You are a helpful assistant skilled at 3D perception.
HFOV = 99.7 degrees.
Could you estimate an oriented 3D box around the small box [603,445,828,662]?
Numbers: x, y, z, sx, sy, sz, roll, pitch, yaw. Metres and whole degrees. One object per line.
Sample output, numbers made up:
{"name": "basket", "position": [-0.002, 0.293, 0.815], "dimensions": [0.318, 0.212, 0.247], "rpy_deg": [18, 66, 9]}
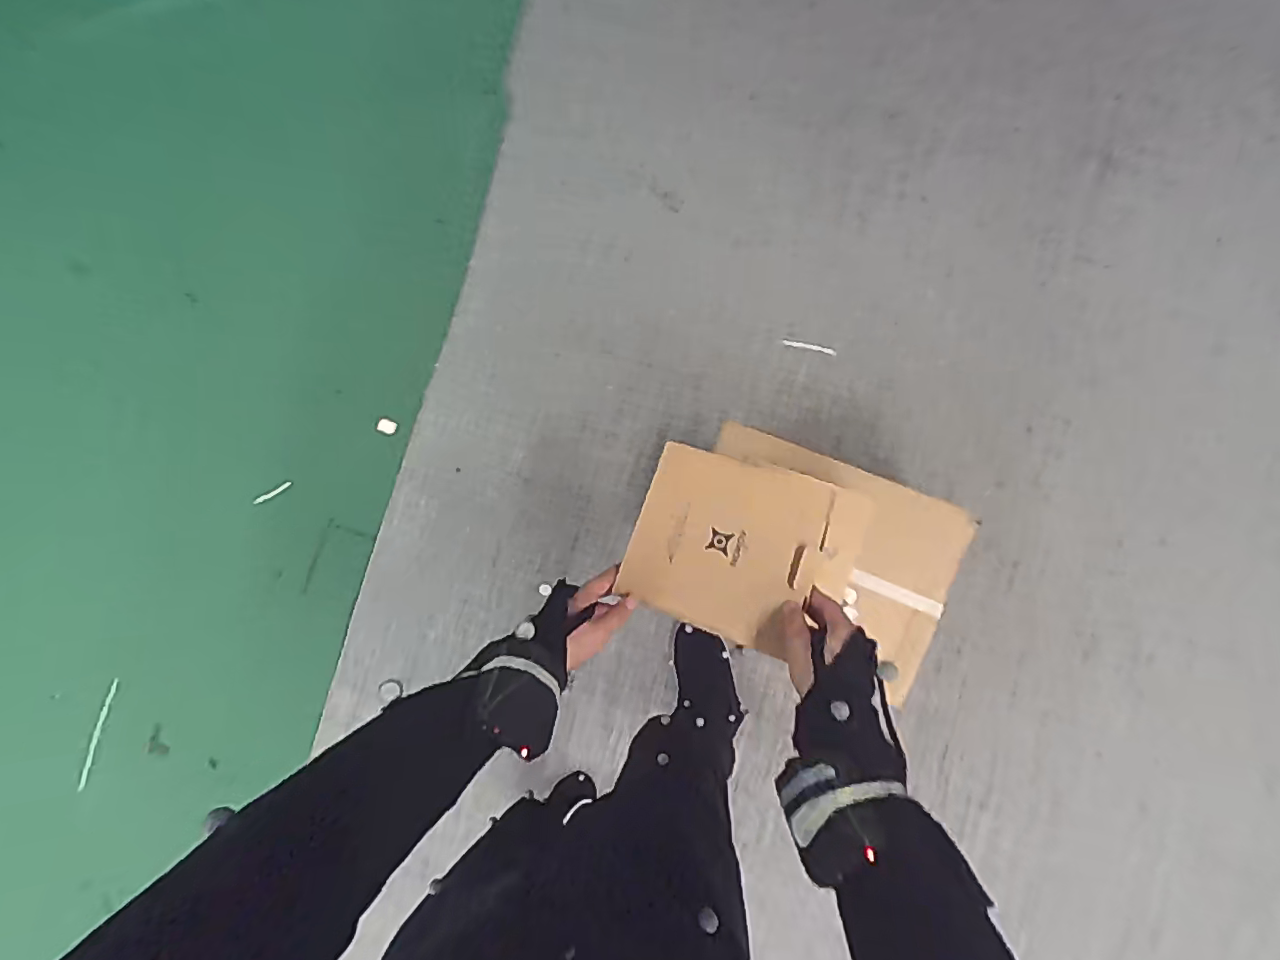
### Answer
{"name": "small box", "position": [0.084, 0.084, 0.588], "dimensions": [0.179, 0.176, 0.168], "rpy_deg": [17, 76, 15]}

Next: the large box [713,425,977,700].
{"name": "large box", "position": [0.296, 0.132, 0.989], "dimensions": [0.408, 0.320, 0.320], "rpy_deg": [22, 90, 13]}
